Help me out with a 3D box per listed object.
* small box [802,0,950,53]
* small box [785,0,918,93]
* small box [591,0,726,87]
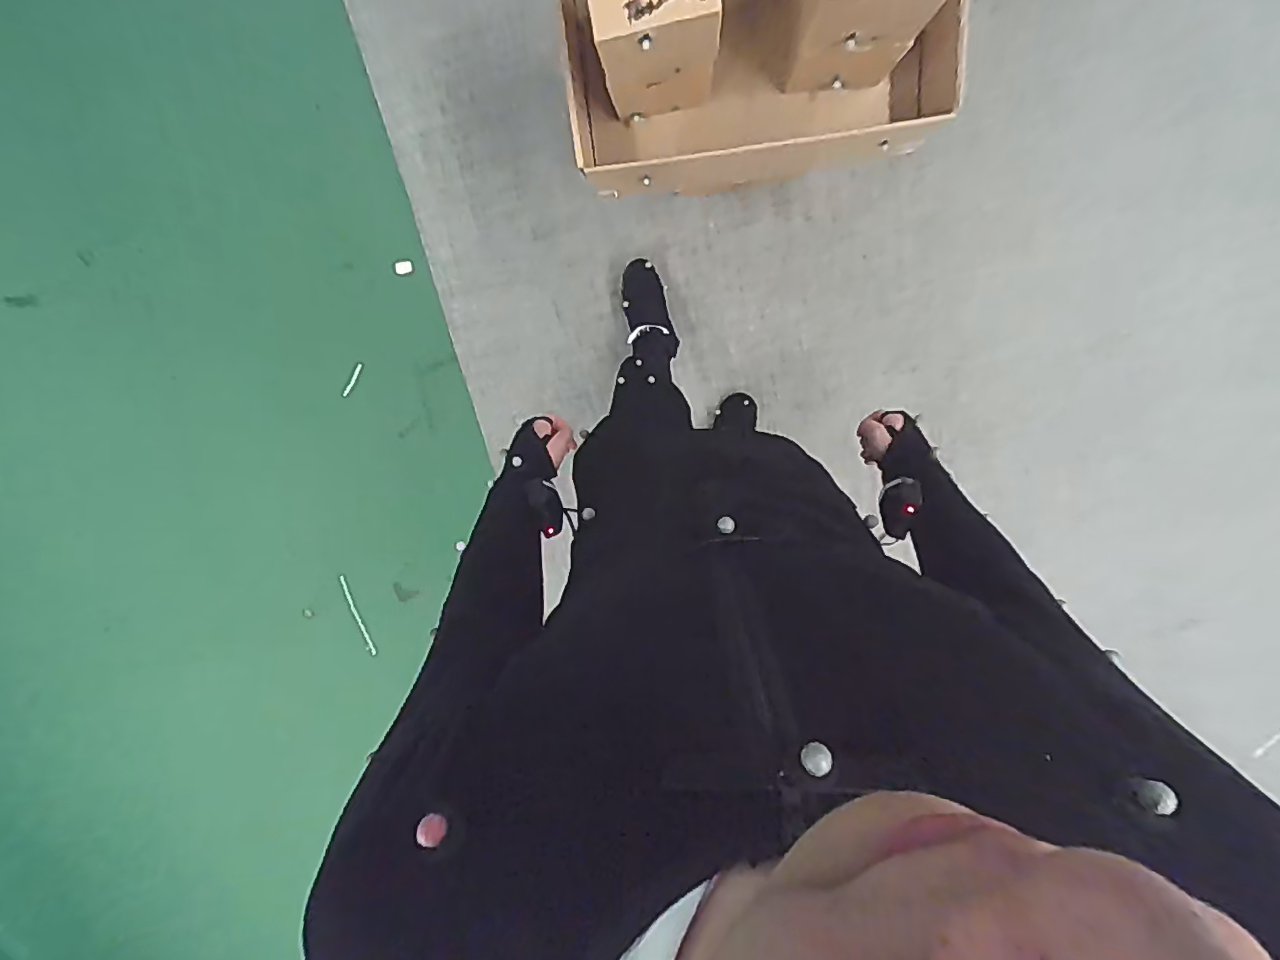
[{"bbox_3d":[0.308,-0.692,0.692,0.168,0.176,0.179,-2,108,6],"label":"small box"},{"bbox_3d":[0.326,-0.743,0.846,0.168,0.176,0.179,-1,108,5],"label":"small box"},{"bbox_3d":[0.018,-0.671,0.722,0.168,0.176,0.179,-7,106,8],"label":"small box"}]
